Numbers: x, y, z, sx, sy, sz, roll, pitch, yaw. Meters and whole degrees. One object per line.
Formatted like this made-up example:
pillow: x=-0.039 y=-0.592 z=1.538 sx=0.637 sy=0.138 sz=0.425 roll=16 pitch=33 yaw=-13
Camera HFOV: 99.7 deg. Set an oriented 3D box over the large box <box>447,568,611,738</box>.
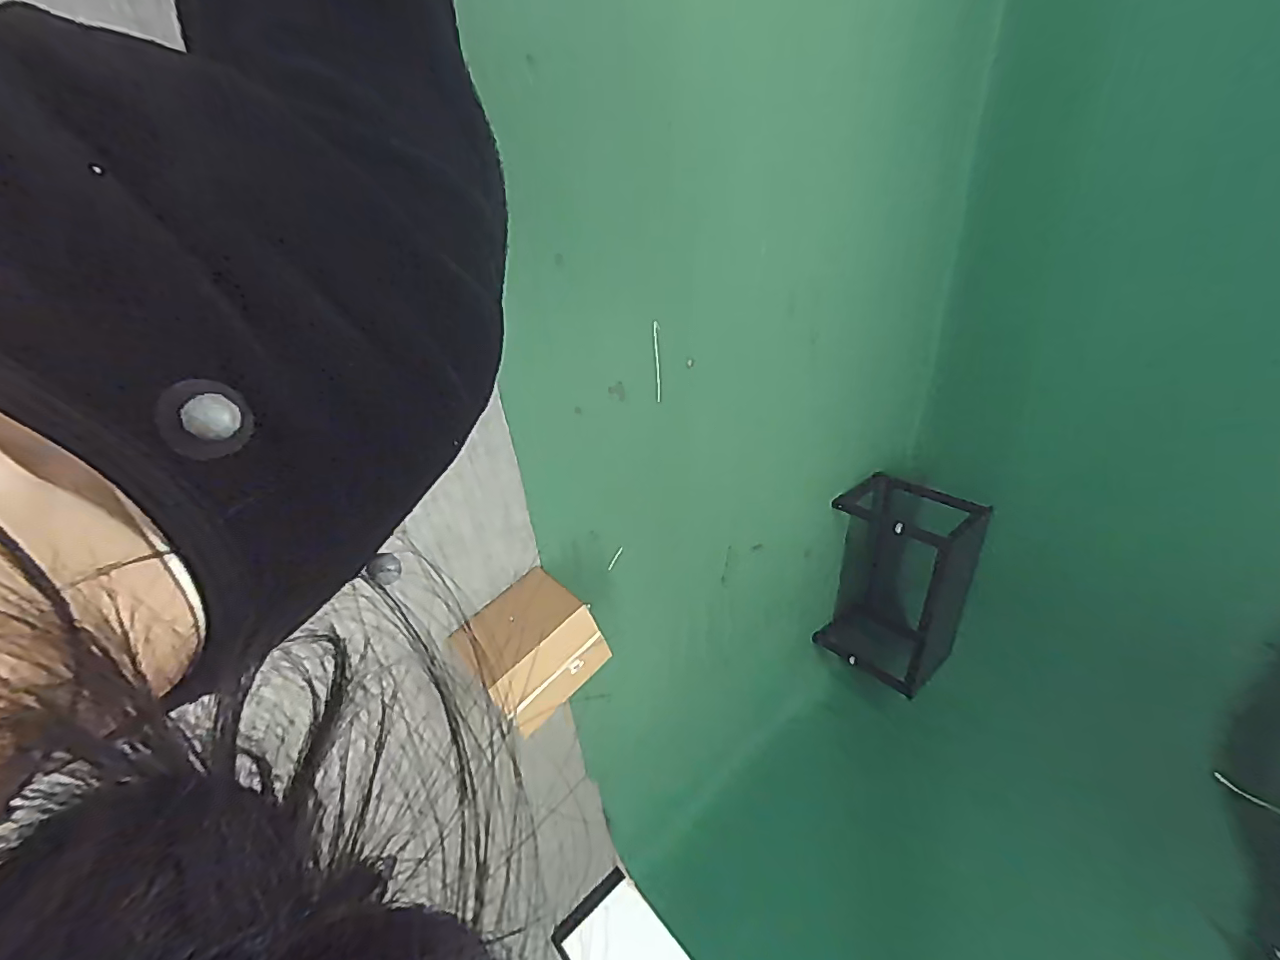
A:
large box: x=-0.383 y=0.592 z=1.899 sx=0.408 sy=0.320 sz=0.320 roll=-40 pitch=132 yaw=-25
